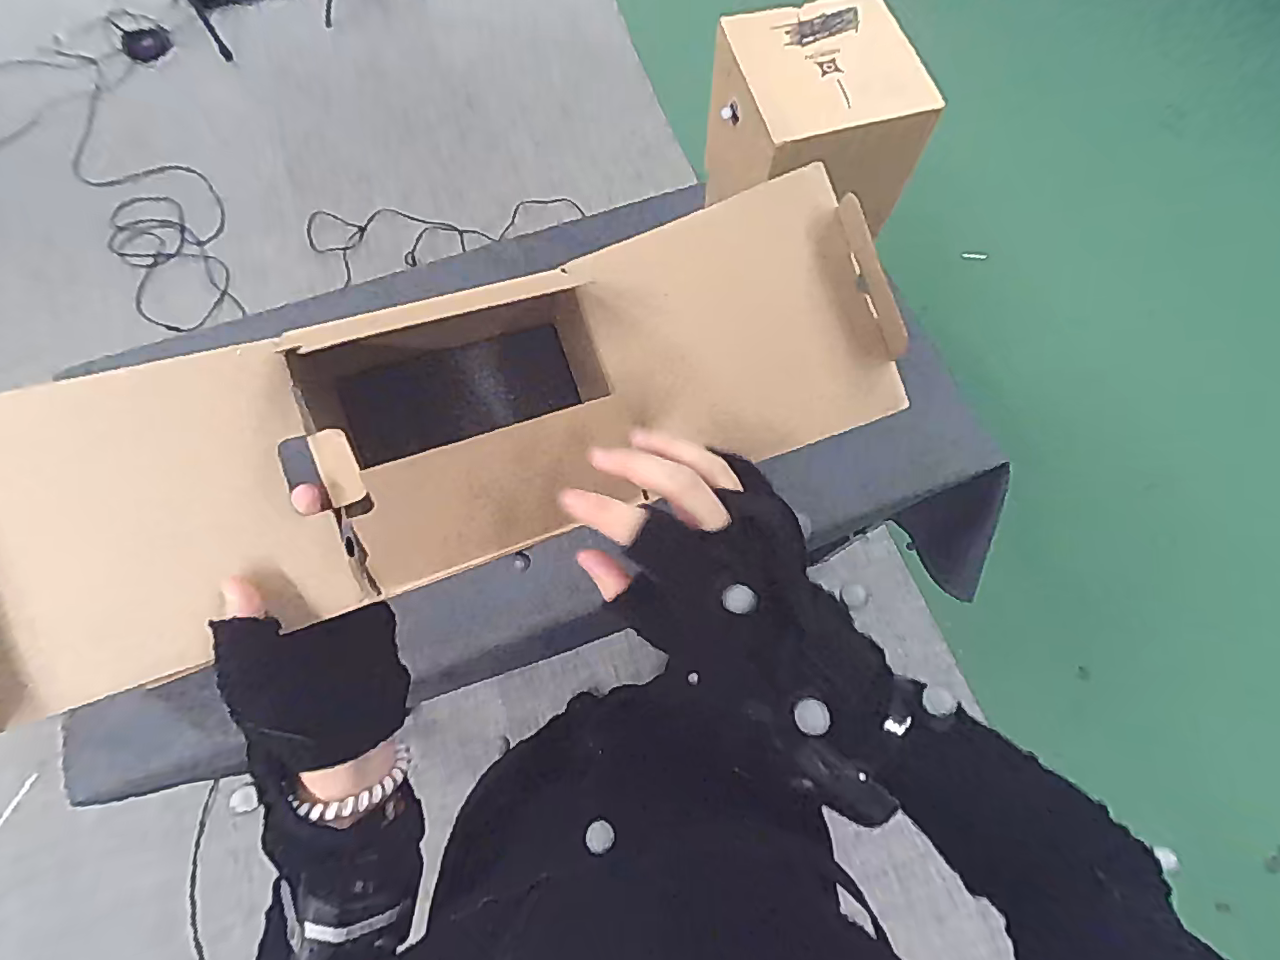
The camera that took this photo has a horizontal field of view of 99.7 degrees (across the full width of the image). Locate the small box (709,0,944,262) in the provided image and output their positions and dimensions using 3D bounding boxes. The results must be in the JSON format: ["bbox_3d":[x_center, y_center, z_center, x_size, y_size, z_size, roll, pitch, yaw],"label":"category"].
[{"bbox_3d":[0.179,-0.374,0.586,0.168,0.176,0.179,-14,72,-3],"label":"small box"}]

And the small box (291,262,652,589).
[{"bbox_3d":[-0.114,-0.031,0.405,0.179,0.176,0.168,-20,91,-15],"label":"small box"}]
